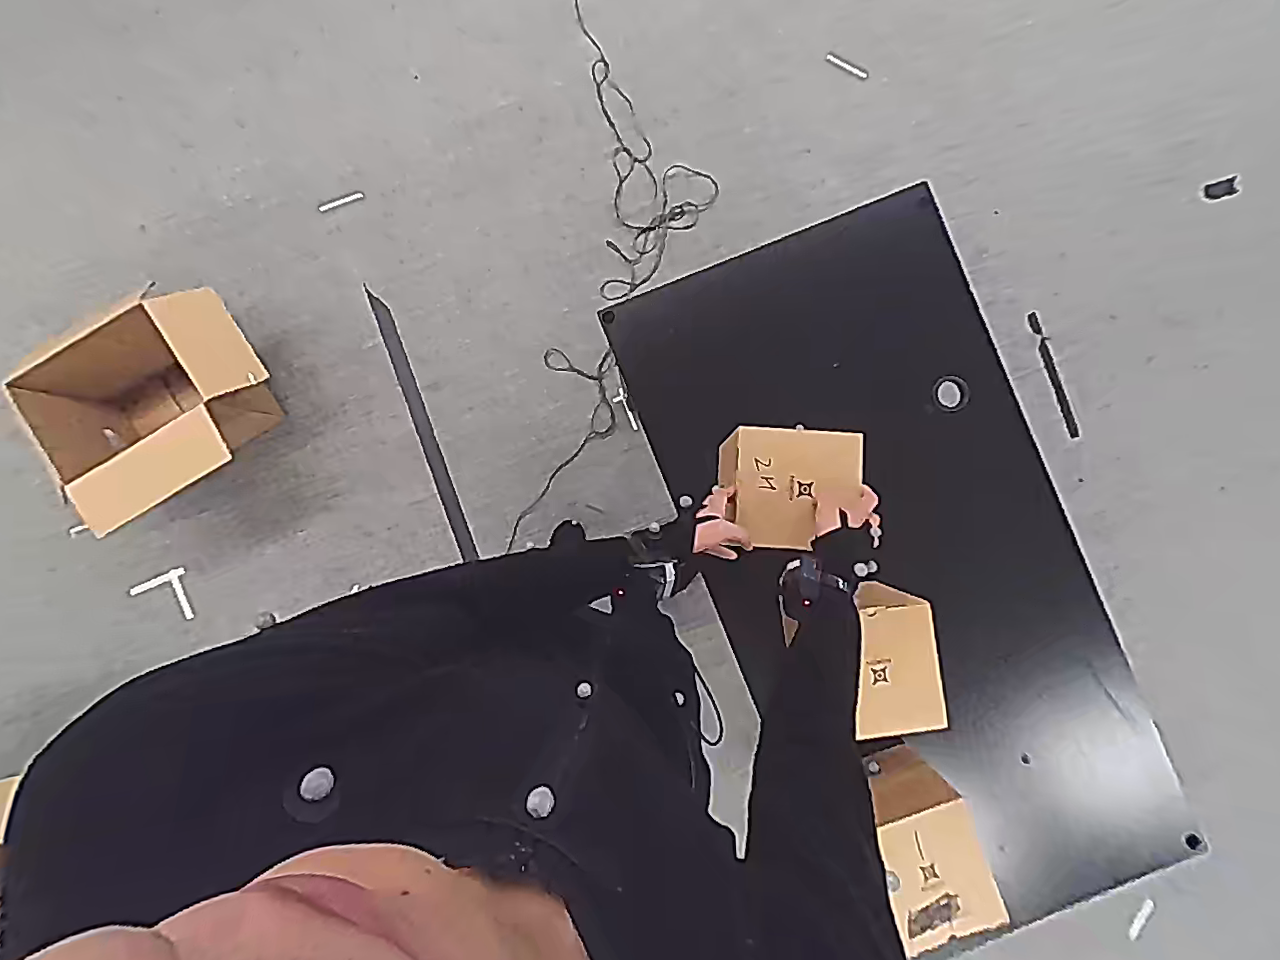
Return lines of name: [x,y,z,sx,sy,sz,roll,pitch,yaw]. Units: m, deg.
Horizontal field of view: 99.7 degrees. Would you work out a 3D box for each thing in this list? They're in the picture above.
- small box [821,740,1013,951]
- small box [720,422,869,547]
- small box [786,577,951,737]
small box: [0.396,0.526,0.804,0.168,0.176,0.179,-20,88,0]
small box: [0.223,0.010,0.811,0.179,0.176,0.168,2,86,1]
small box: [0.330,0.254,0.812,0.168,0.176,0.179,-9,88,0]
